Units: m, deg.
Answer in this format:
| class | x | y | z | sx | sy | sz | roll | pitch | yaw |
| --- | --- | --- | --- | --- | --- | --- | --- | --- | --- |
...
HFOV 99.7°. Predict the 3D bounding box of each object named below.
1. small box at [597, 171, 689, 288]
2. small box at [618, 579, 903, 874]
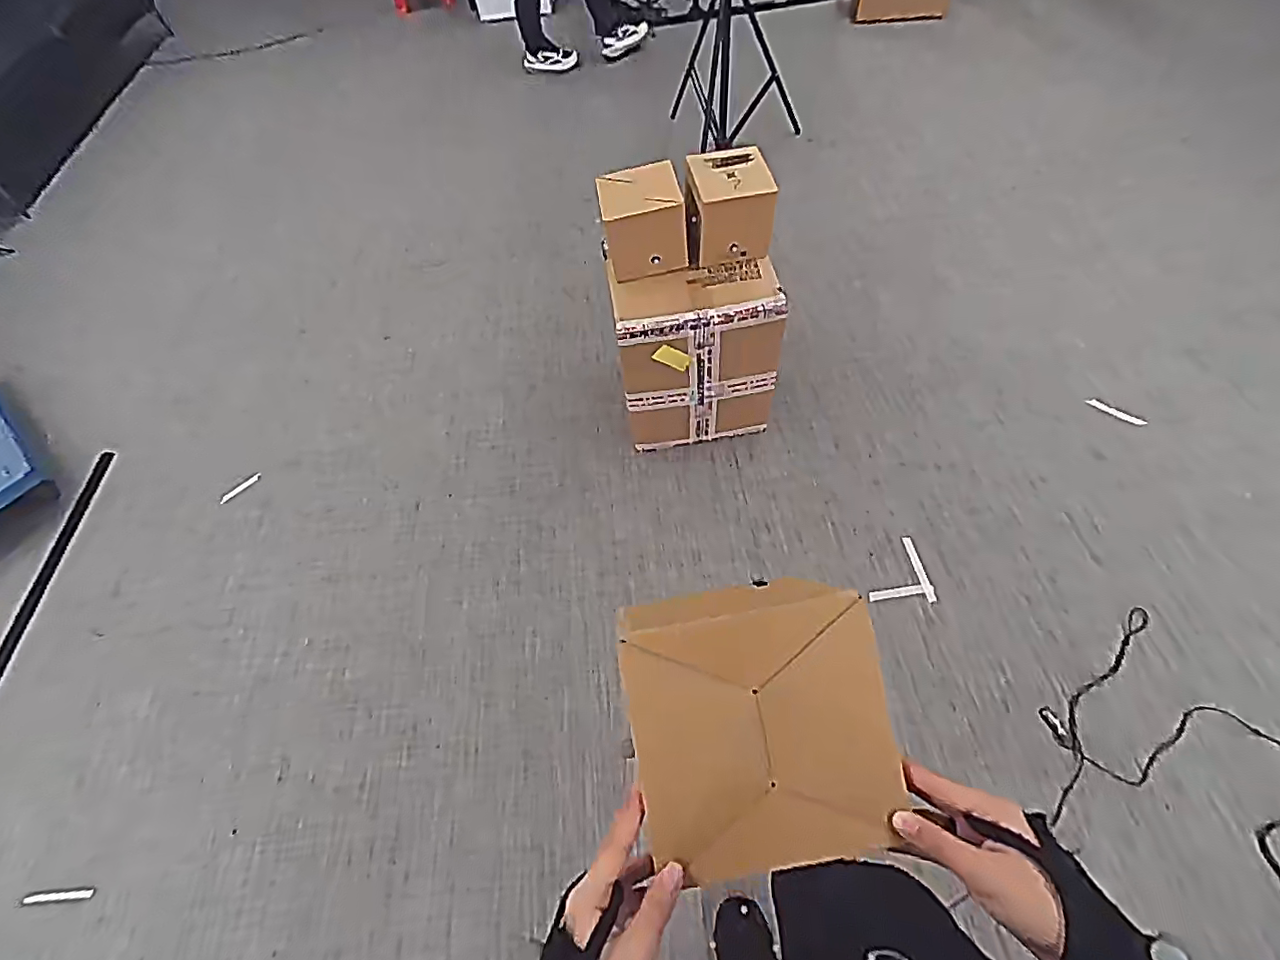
| class | x | y | z | sx | sy | sz | roll | pitch | yaw |
| --- | --- | --- | --- | --- | --- | --- | --- | --- | --- |
| small box | 0.010 | -0.582 | 1.254 | 0.179 | 0.176 | 0.168 | -11 | 59 | 2 |
| small box | 0.079 | 0.182 | 0.446 | 0.179 | 0.176 | 0.168 | -10 | 84 | -2 |
